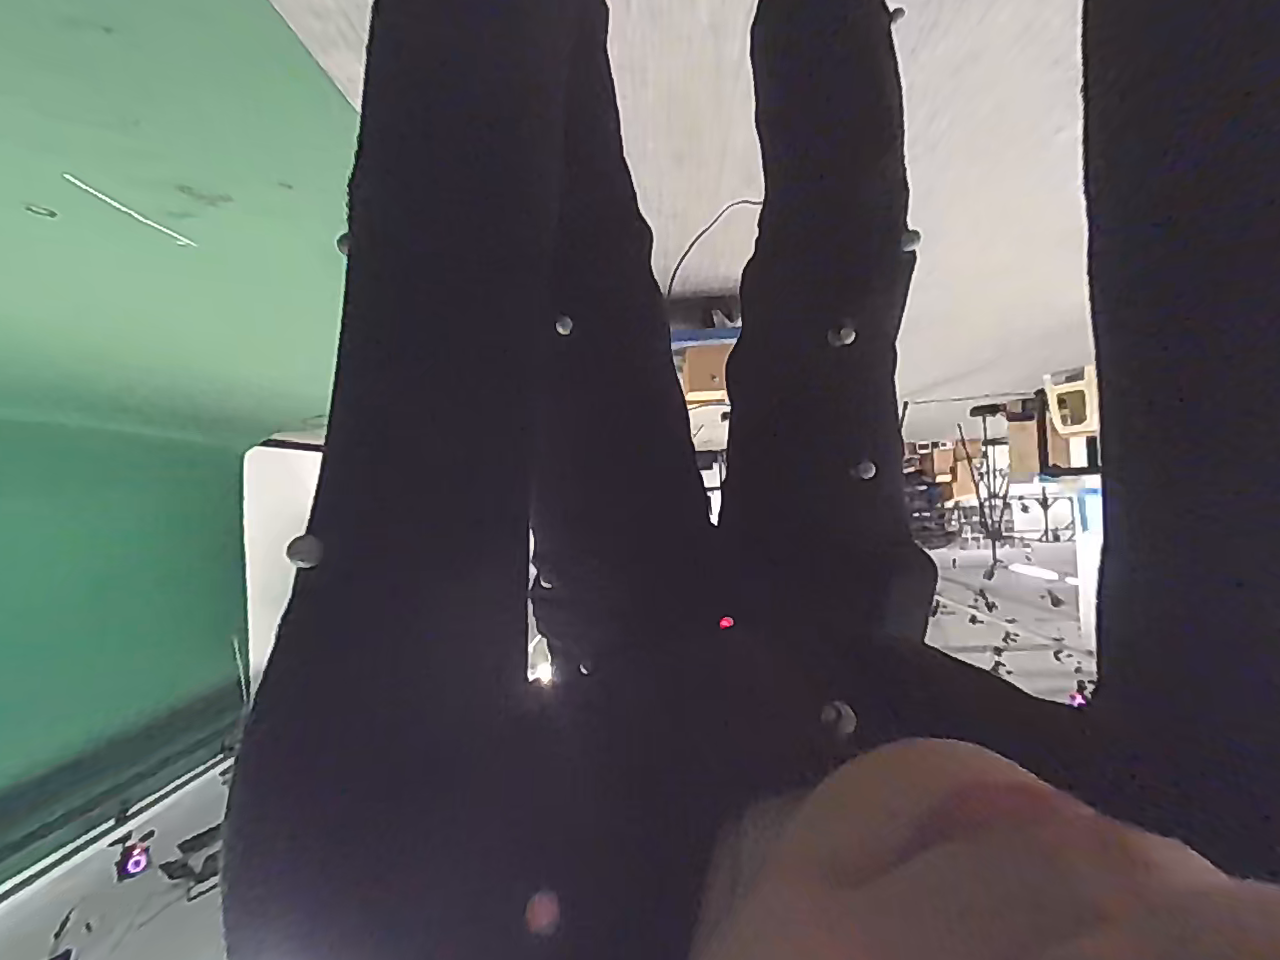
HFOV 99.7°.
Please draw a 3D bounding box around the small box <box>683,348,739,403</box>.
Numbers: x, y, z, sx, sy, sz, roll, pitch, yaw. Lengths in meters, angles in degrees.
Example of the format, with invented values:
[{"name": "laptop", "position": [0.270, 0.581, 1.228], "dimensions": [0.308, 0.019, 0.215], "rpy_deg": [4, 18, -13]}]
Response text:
[{"name": "small box", "position": [0.257, -0.381, 1.980], "dimensions": [0.179, 0.176, 0.168], "rpy_deg": [-3, 178, -2]}]
